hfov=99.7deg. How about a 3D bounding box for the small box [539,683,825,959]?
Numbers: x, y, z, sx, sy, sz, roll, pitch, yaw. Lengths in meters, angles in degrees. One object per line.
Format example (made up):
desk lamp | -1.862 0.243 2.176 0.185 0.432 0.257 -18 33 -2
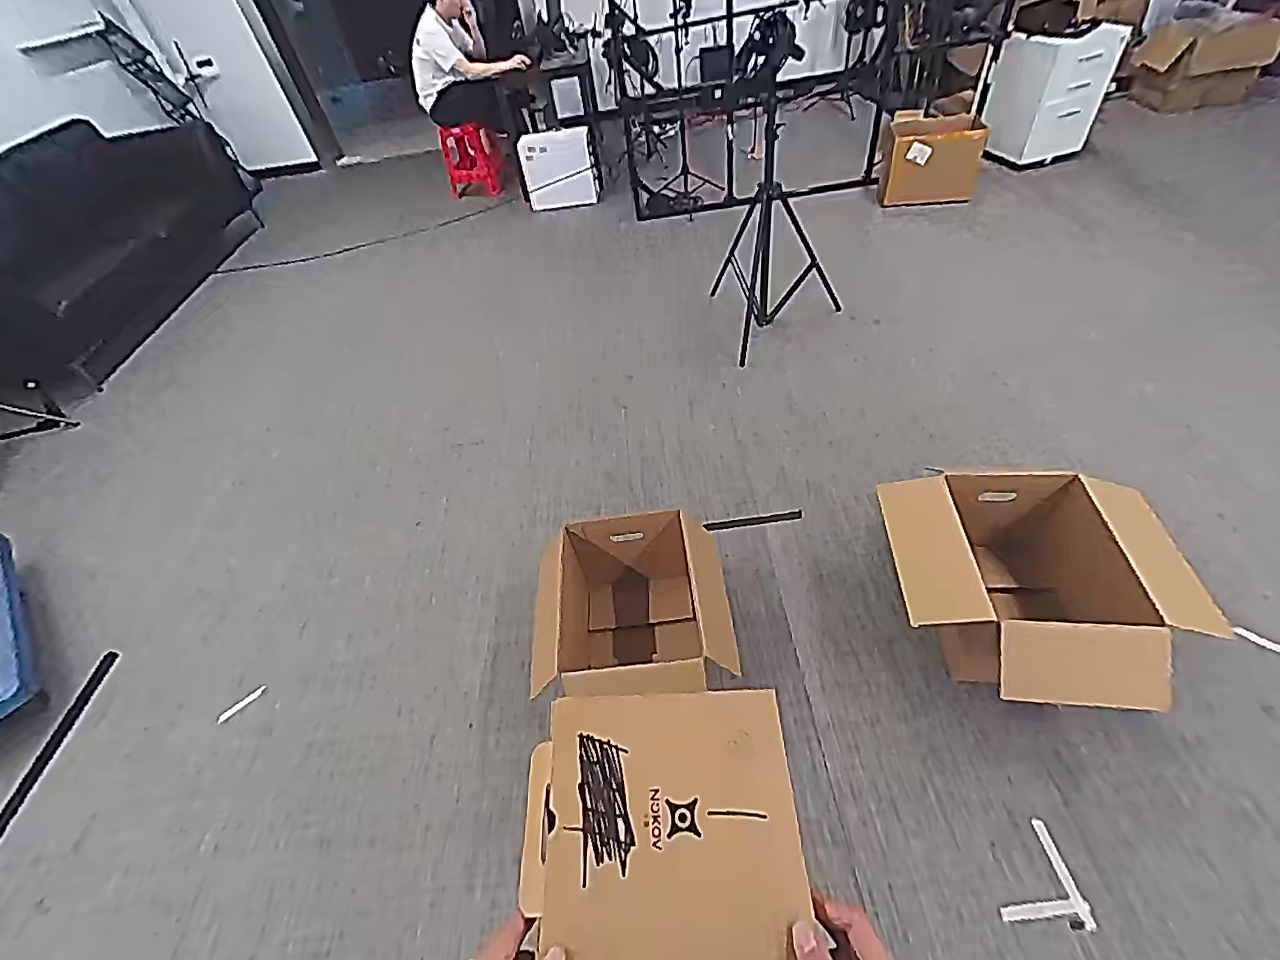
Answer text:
small box | 0.025 0.275 0.434 0.179 0.176 0.168 -2 53 -1
